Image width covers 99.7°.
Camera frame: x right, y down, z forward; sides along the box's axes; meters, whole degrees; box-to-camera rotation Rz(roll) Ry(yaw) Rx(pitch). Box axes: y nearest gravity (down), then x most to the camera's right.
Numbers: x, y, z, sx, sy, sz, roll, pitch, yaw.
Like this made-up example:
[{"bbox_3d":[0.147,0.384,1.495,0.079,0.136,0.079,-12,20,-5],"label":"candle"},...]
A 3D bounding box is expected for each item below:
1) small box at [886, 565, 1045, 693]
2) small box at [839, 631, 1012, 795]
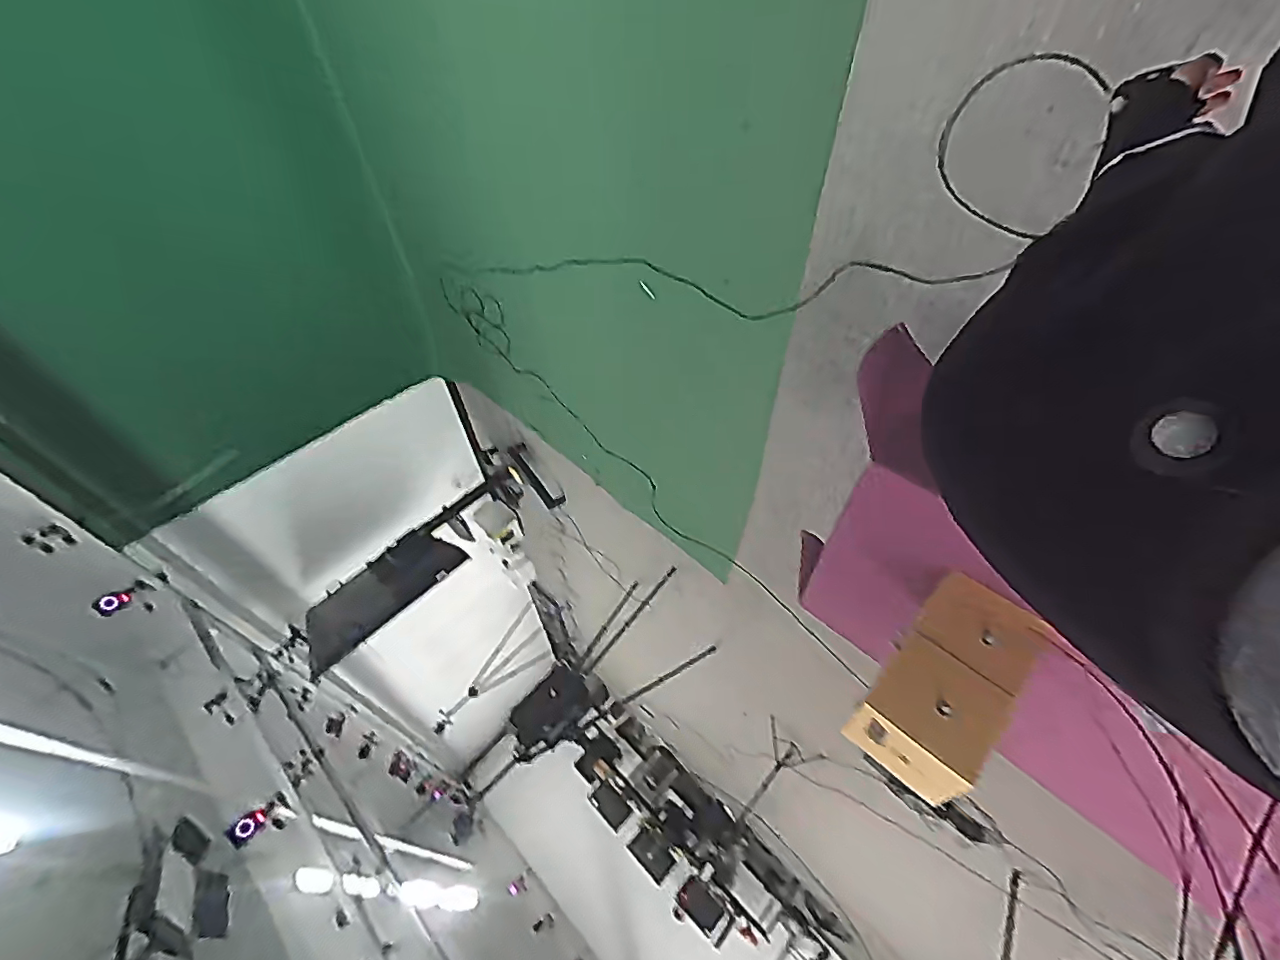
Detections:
[{"bbox_3d":[0.587,0.289,0.986,0.179,0.176,0.168,35,150,28],"label":"small box"},{"bbox_3d":[0.473,0.382,0.910,0.179,0.176,0.168,36,151,27],"label":"small box"}]
